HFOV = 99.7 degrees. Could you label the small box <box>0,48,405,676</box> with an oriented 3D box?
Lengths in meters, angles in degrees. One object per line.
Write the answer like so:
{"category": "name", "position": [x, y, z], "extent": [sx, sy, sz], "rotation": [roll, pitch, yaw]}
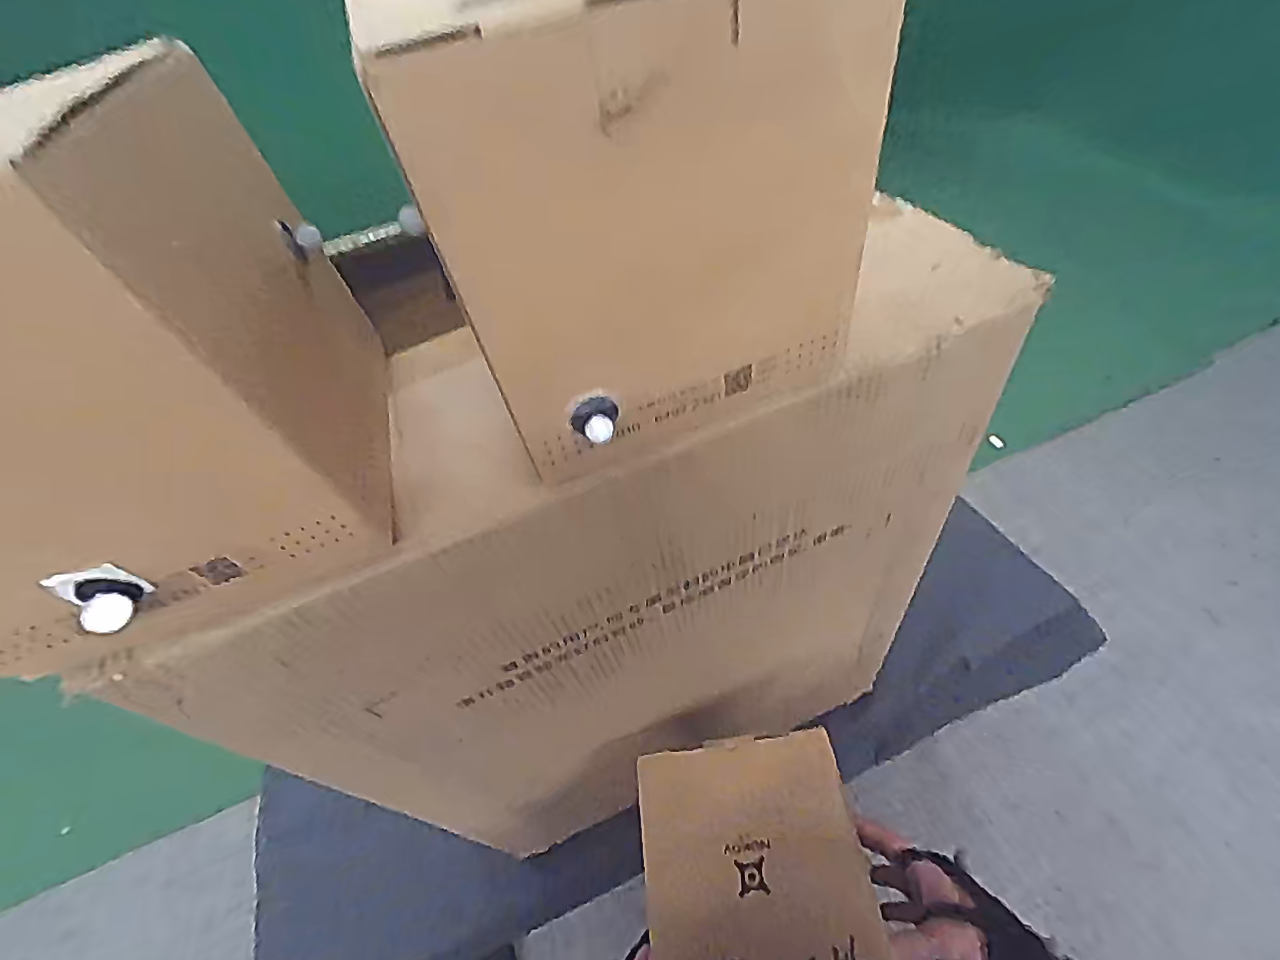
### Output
{"category": "small box", "position": [-0.225, -0.049, 0.235], "extent": [0.168, 0.176, 0.179], "rotation": [-23, 50, -5]}

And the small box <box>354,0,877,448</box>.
{"category": "small box", "position": [-0.013, -0.137, 0.264], "extent": [0.168, 0.176, 0.179], "rotation": [-22, 48, -9]}
